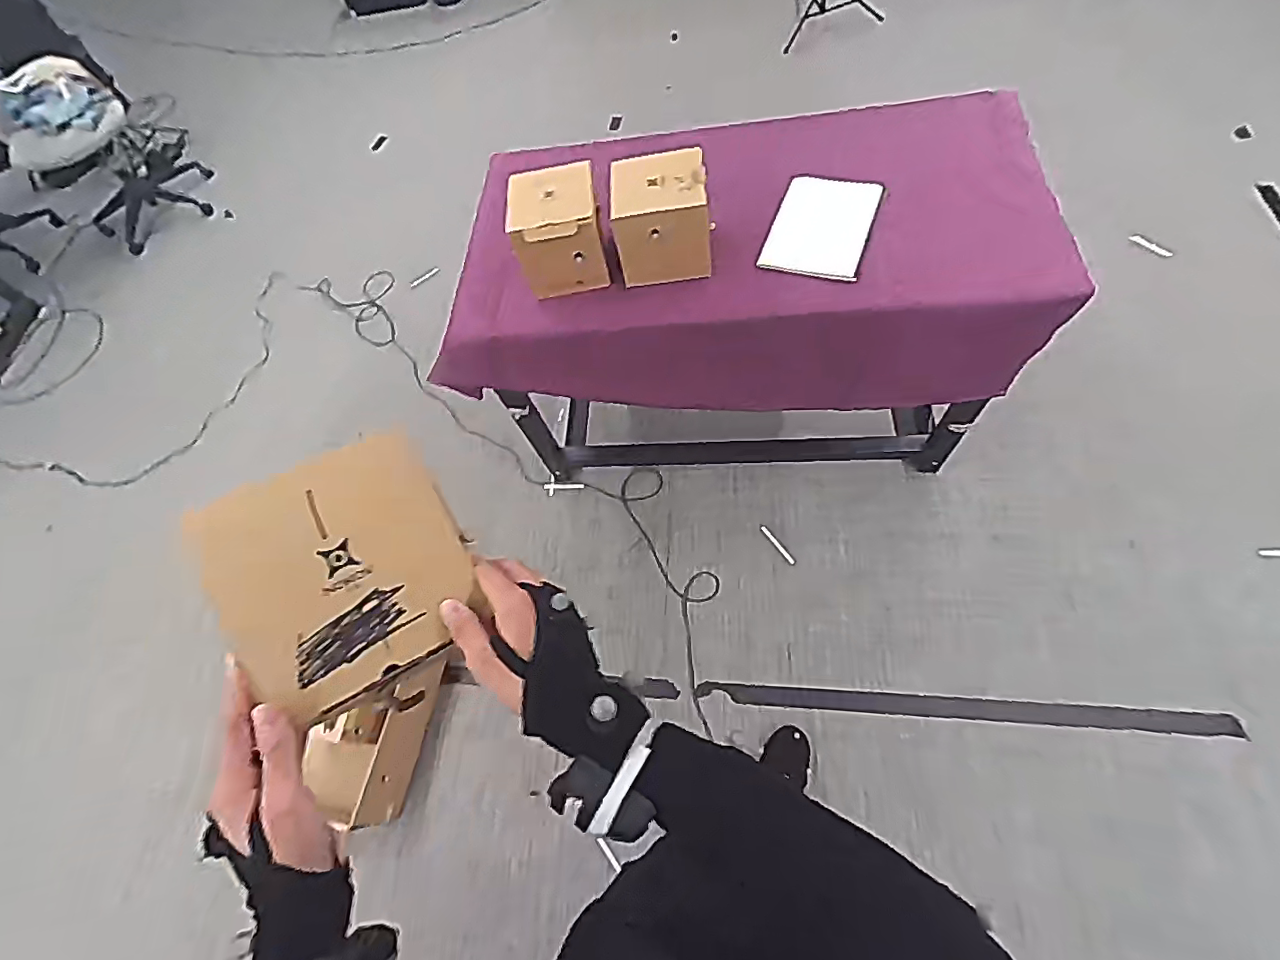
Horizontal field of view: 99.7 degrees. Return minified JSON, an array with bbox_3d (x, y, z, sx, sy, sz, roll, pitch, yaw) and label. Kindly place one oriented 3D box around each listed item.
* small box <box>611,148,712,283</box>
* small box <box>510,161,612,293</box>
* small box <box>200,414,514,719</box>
[{"bbox_3d":[0.047,-0.512,1.067,0.179,0.176,0.168,-5,64,8],"label":"small box"},{"bbox_3d":[-0.155,-0.504,1.102,0.168,0.176,0.179,-8,62,6],"label":"small box"},{"bbox_3d":[-0.221,0.075,0.475,0.168,0.176,0.179,-27,81,-17],"label":"small box"}]
